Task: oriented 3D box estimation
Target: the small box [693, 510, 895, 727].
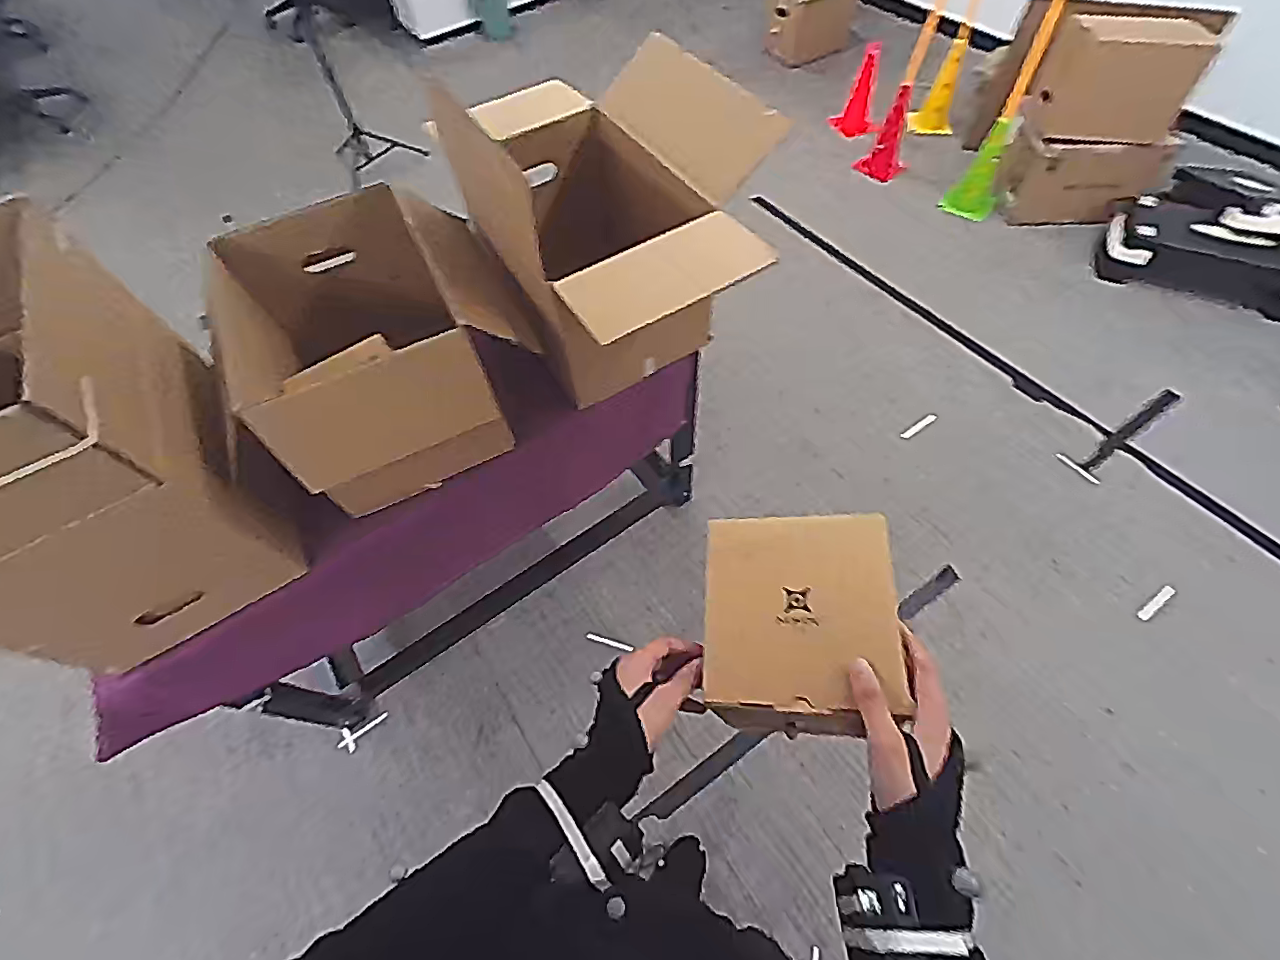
[{"bbox_3d":[0.152,0.147,0.555,0.168,0.176,0.179,-5,61,16],"label":"small box"}]
